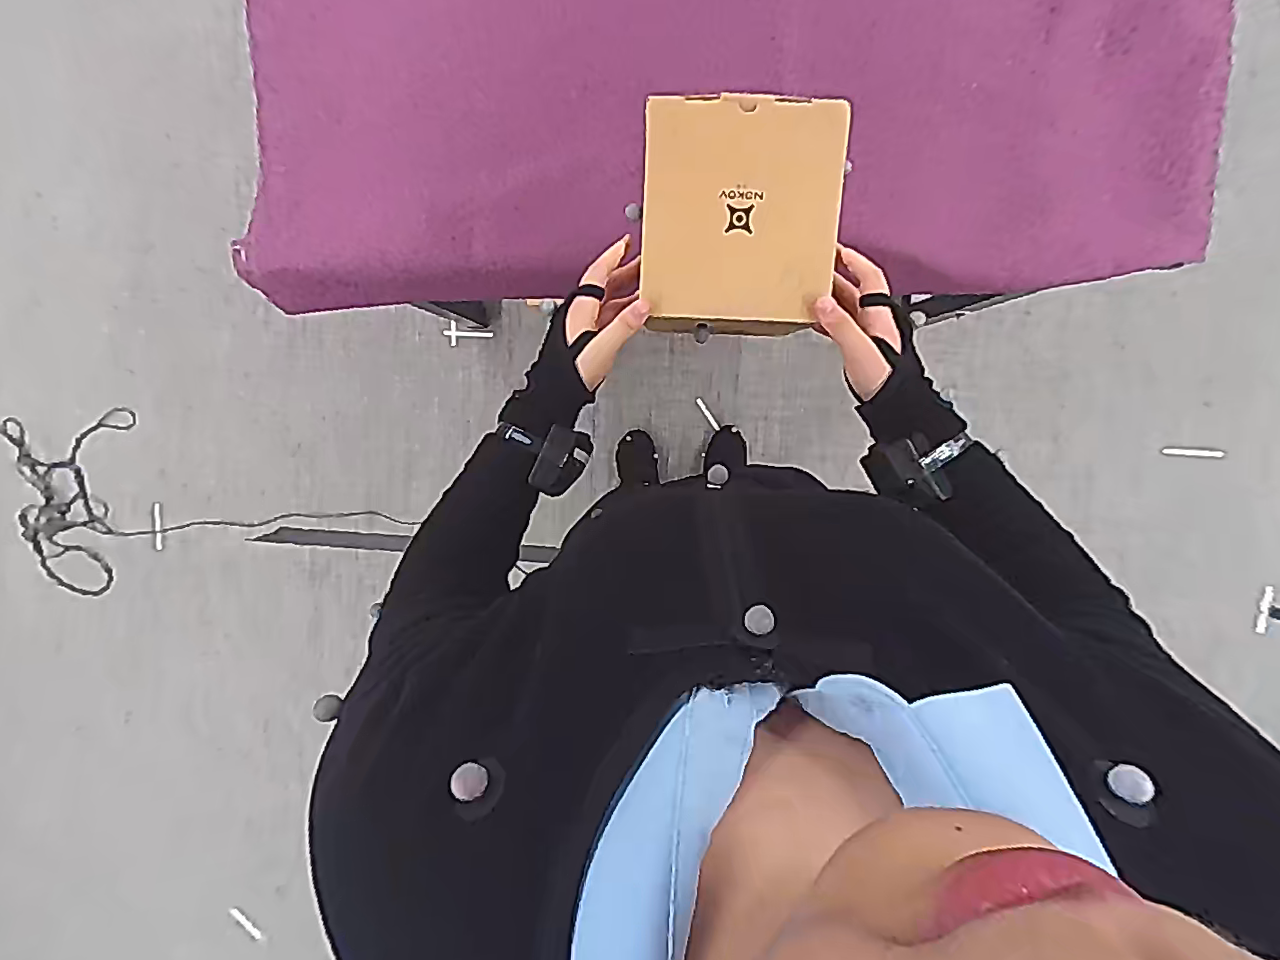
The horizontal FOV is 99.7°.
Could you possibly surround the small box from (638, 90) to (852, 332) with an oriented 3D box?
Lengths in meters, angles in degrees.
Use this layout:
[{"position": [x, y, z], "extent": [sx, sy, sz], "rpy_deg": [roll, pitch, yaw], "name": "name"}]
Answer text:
[{"position": [0.089, -0.242, 0.530], "extent": [0.168, 0.176, 0.179], "rpy_deg": [3, 100, 2], "name": "small box"}]
